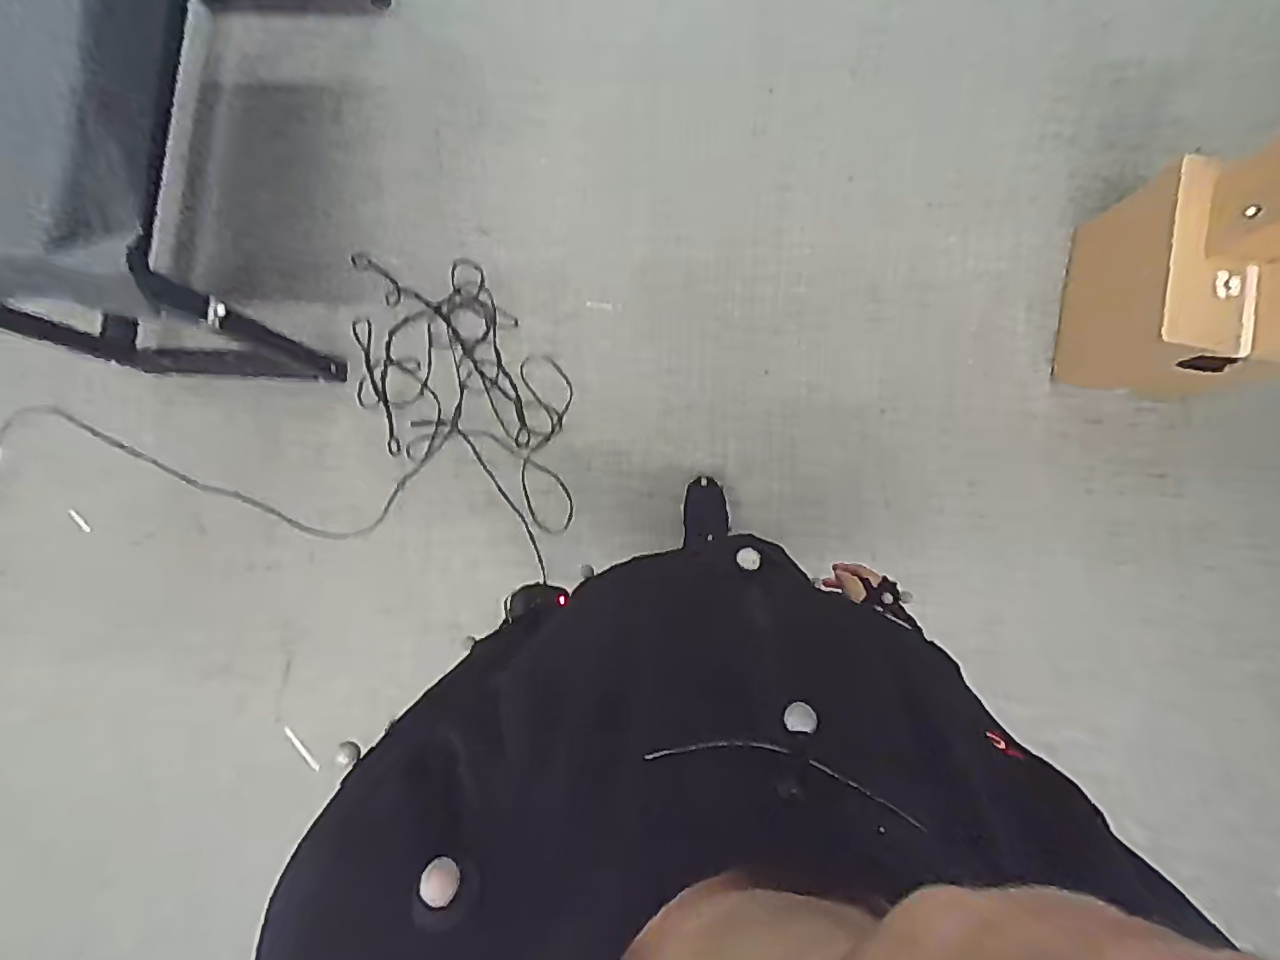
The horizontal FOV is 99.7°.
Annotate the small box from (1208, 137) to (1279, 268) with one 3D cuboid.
[{"bbox_3d":[1.214,-0.515,0.994,0.168,0.176,0.179,10,84,3],"label":"small box"}]

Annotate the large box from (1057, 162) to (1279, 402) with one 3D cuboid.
[{"bbox_3d":[1.227,-0.423,1.228,0.320,0.320,0.408,10,86,5],"label":"large box"}]
